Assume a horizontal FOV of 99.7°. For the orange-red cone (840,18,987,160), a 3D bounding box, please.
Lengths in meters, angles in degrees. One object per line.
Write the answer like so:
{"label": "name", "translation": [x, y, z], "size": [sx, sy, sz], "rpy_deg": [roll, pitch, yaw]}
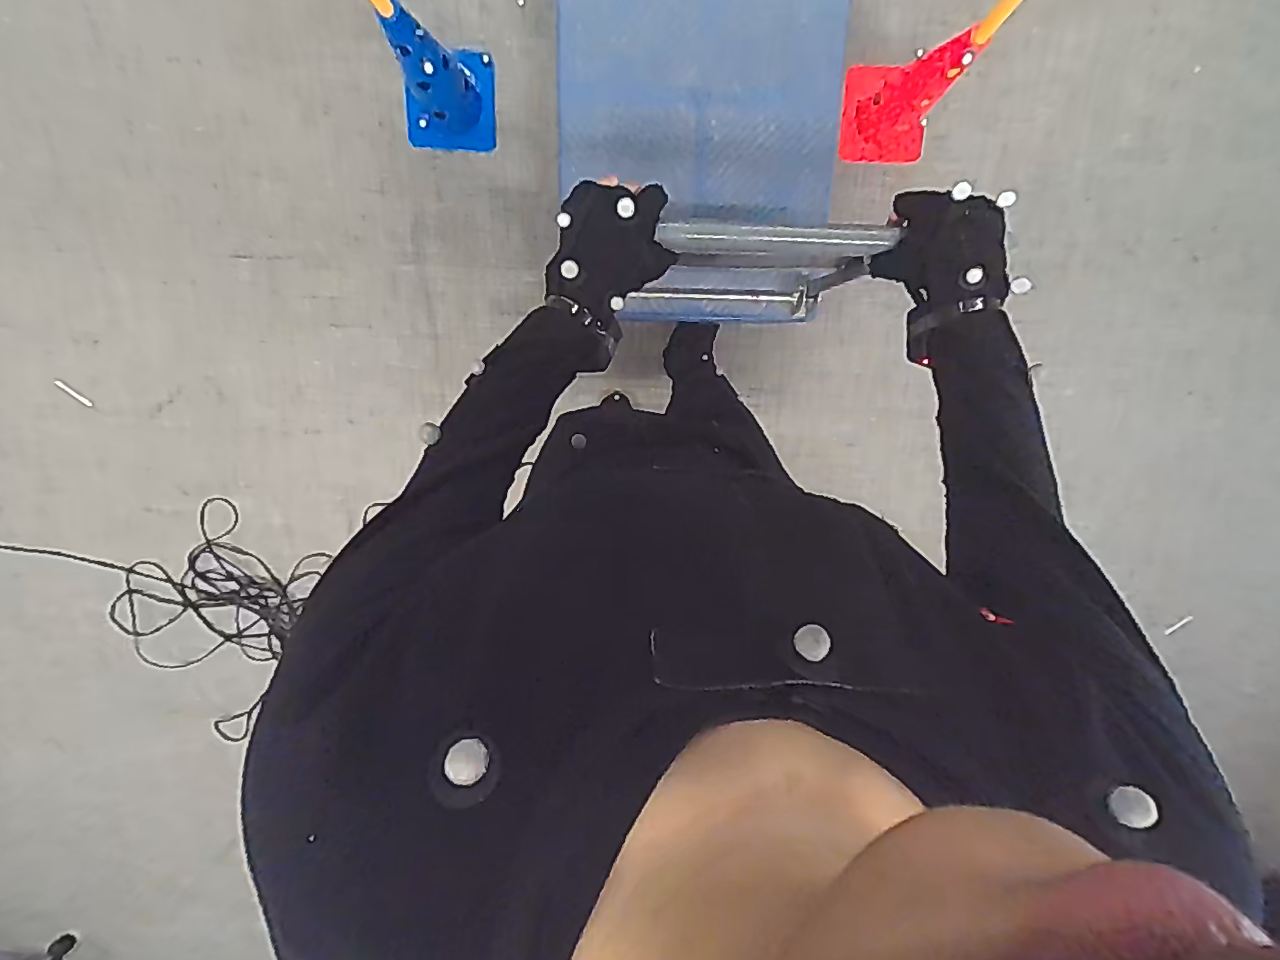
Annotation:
{"label": "orange-red cone", "translation": [0.583, -0.828, 1.115], "size": [0.199, 0.360, 0.198], "rpy_deg": [2, 104, -1]}
